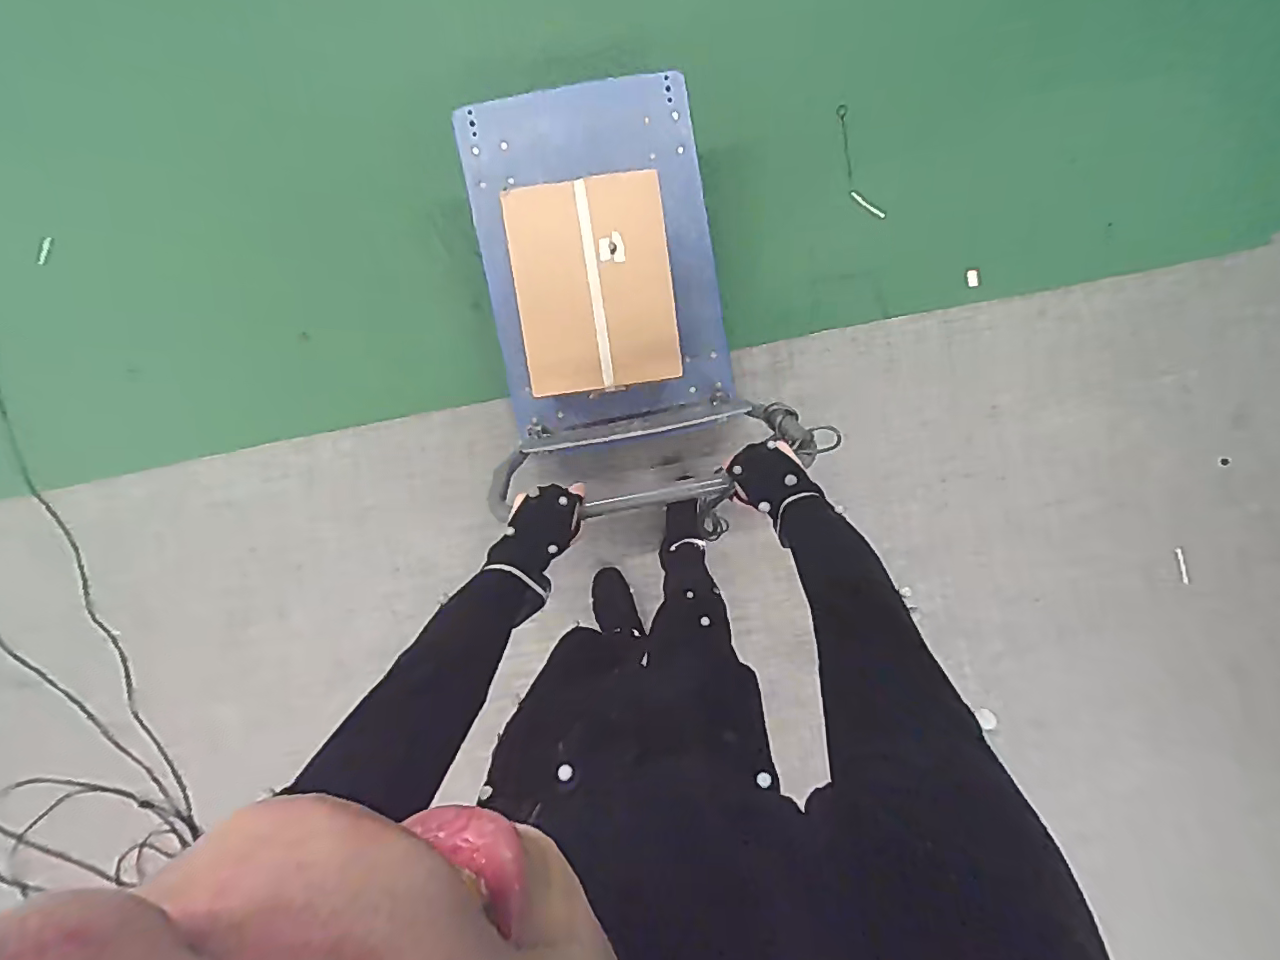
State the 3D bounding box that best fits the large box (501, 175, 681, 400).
[{"bbox_3d":[-0.098,-0.404,1.231,0.320,0.320,0.408,-8,98,-2],"label":"large box"}]
